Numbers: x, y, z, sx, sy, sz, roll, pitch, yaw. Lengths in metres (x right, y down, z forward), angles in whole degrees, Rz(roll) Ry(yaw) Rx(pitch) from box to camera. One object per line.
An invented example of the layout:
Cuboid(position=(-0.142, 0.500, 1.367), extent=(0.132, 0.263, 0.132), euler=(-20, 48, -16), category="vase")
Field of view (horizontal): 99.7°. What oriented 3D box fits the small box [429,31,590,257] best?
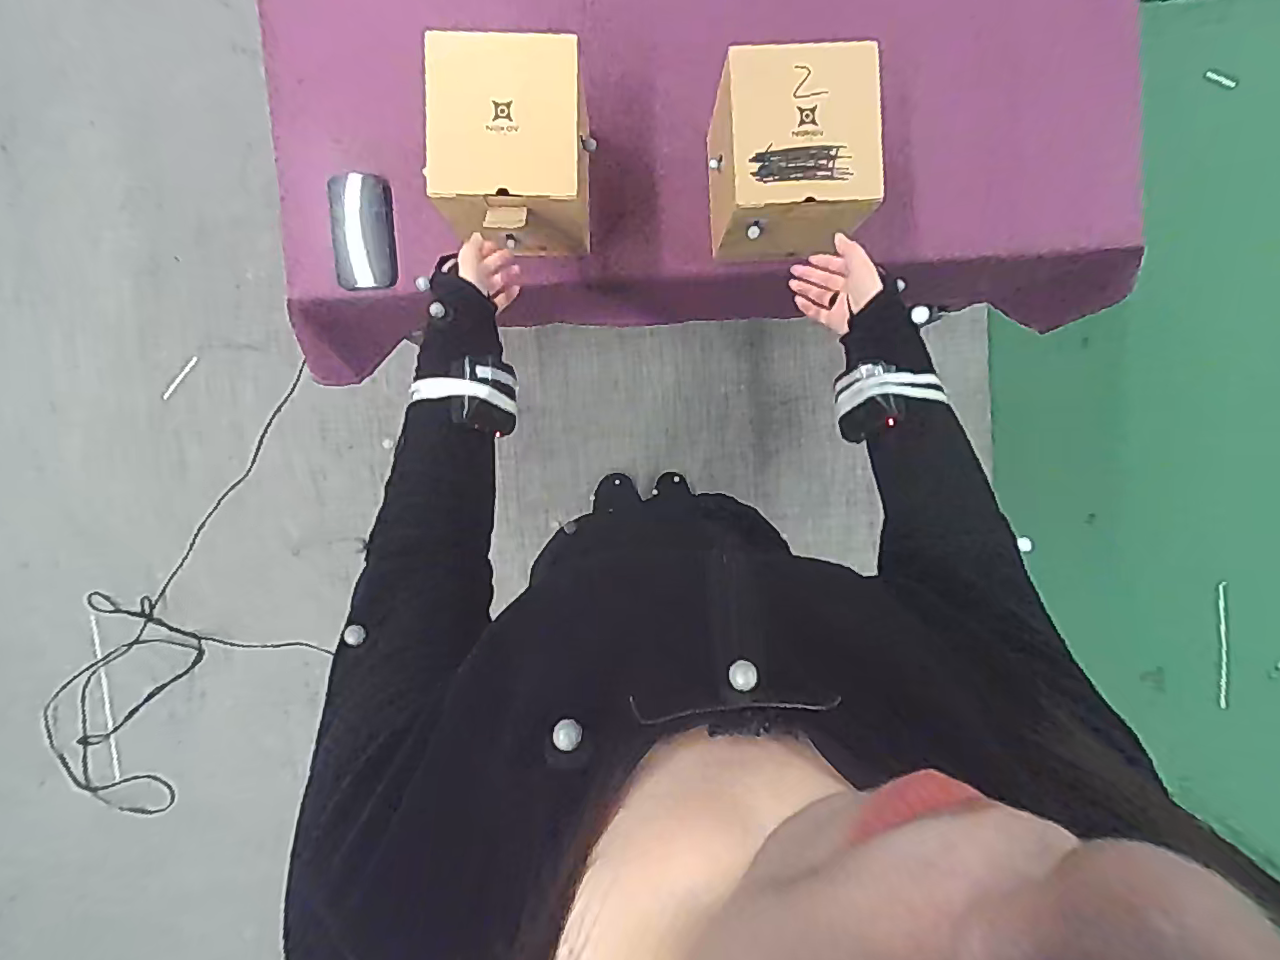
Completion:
Cuboid(position=(-0.149, -0.395, 0.663), extent=(0.168, 0.176, 0.179), euler=(1, 93, -3), category="small box")
